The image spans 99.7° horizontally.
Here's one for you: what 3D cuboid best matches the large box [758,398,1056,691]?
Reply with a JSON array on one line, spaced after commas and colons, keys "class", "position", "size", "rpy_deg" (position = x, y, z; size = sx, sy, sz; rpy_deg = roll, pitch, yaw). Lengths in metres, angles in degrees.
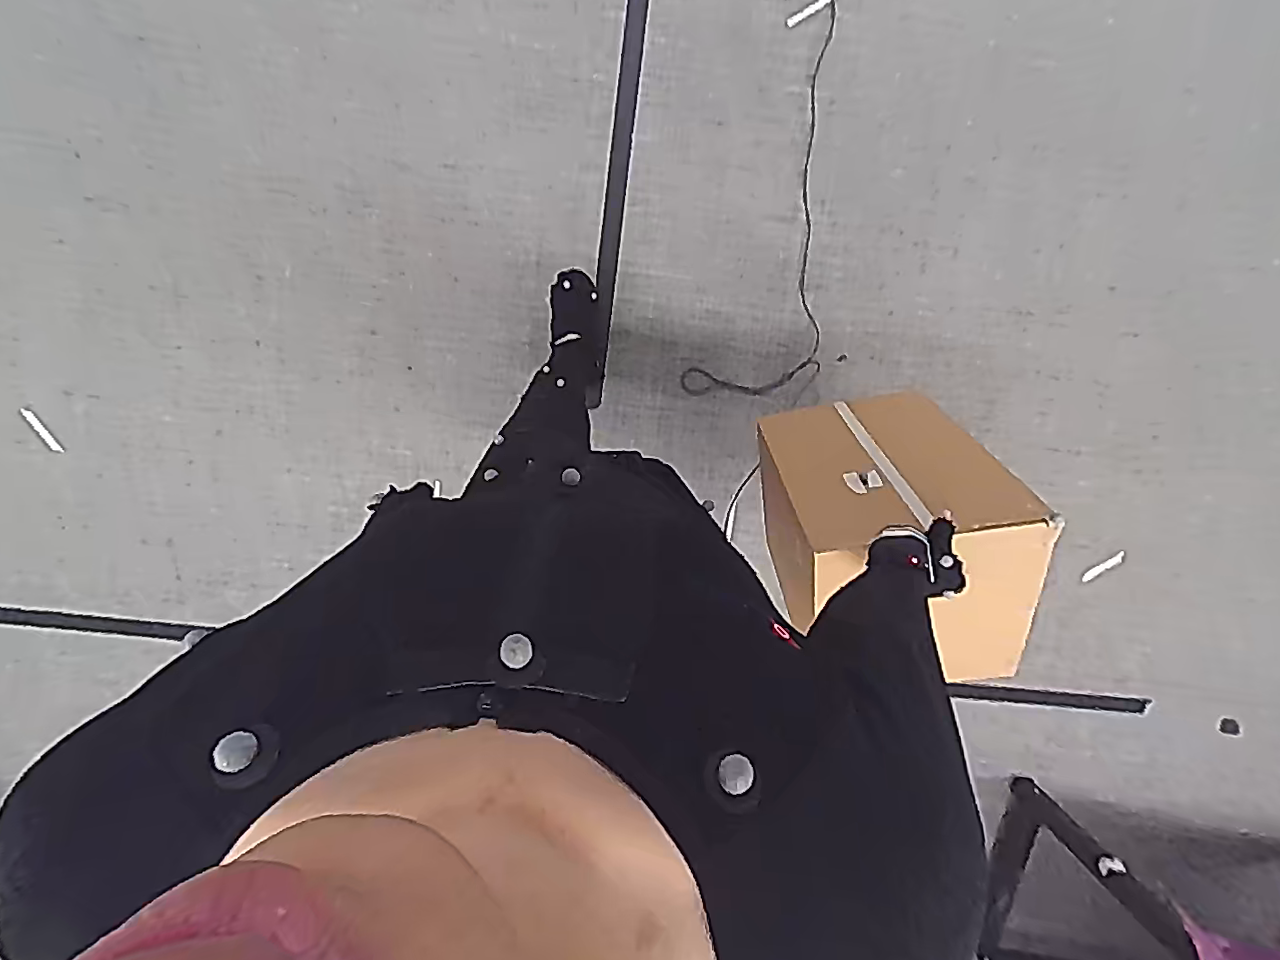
[{"class": "large box", "position": [0.412, 0.096, 0.959], "size": [0.320, 0.408, 0.320], "rpy_deg": [-10, 123, 5]}]
